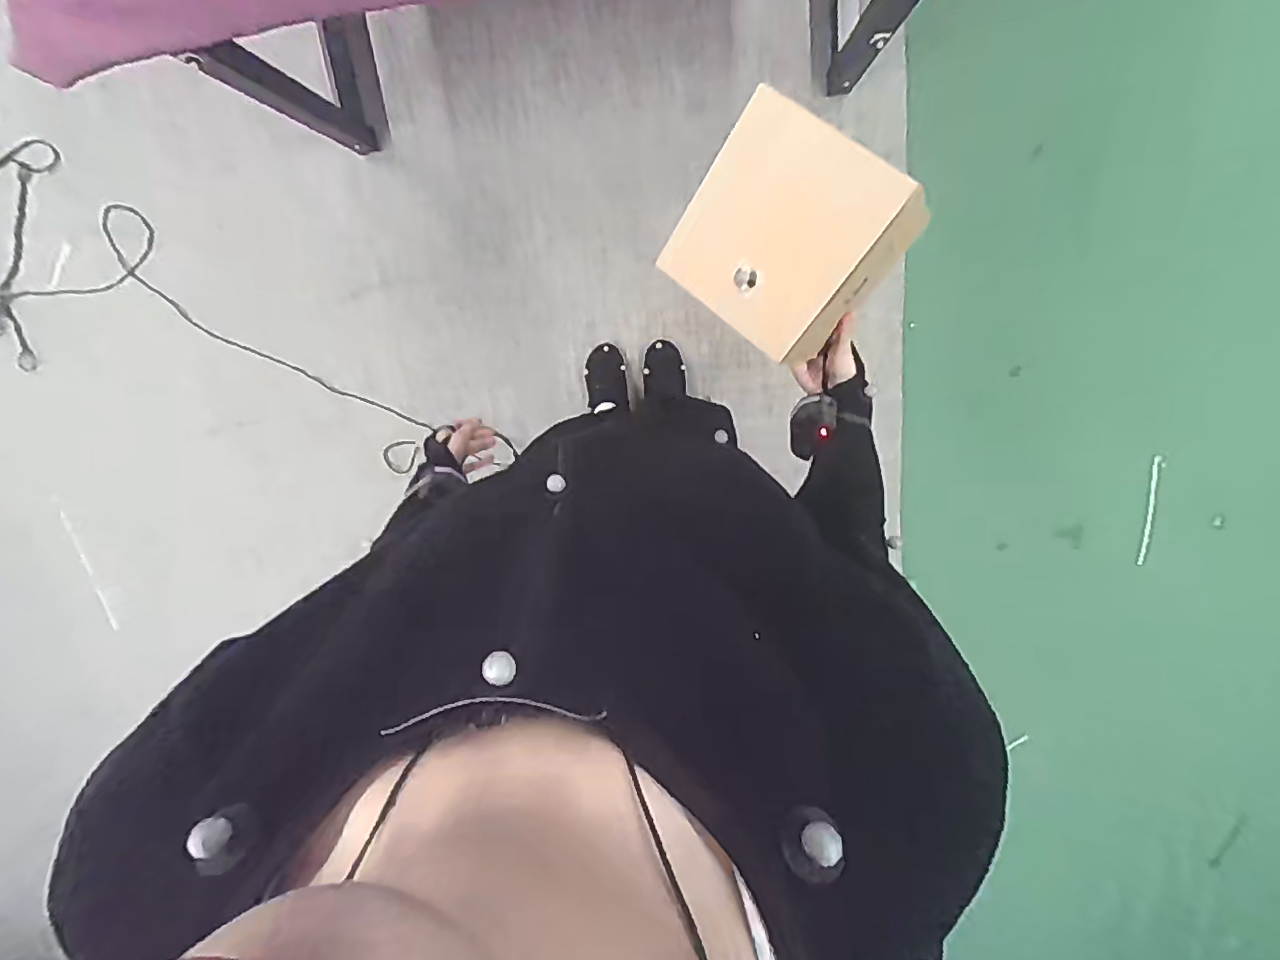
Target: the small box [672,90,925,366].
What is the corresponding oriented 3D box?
[{"bbox_3d":[0.154,-0.237,0.548,0.176,0.168,0.179,43,119,12],"label":"small box"}]
